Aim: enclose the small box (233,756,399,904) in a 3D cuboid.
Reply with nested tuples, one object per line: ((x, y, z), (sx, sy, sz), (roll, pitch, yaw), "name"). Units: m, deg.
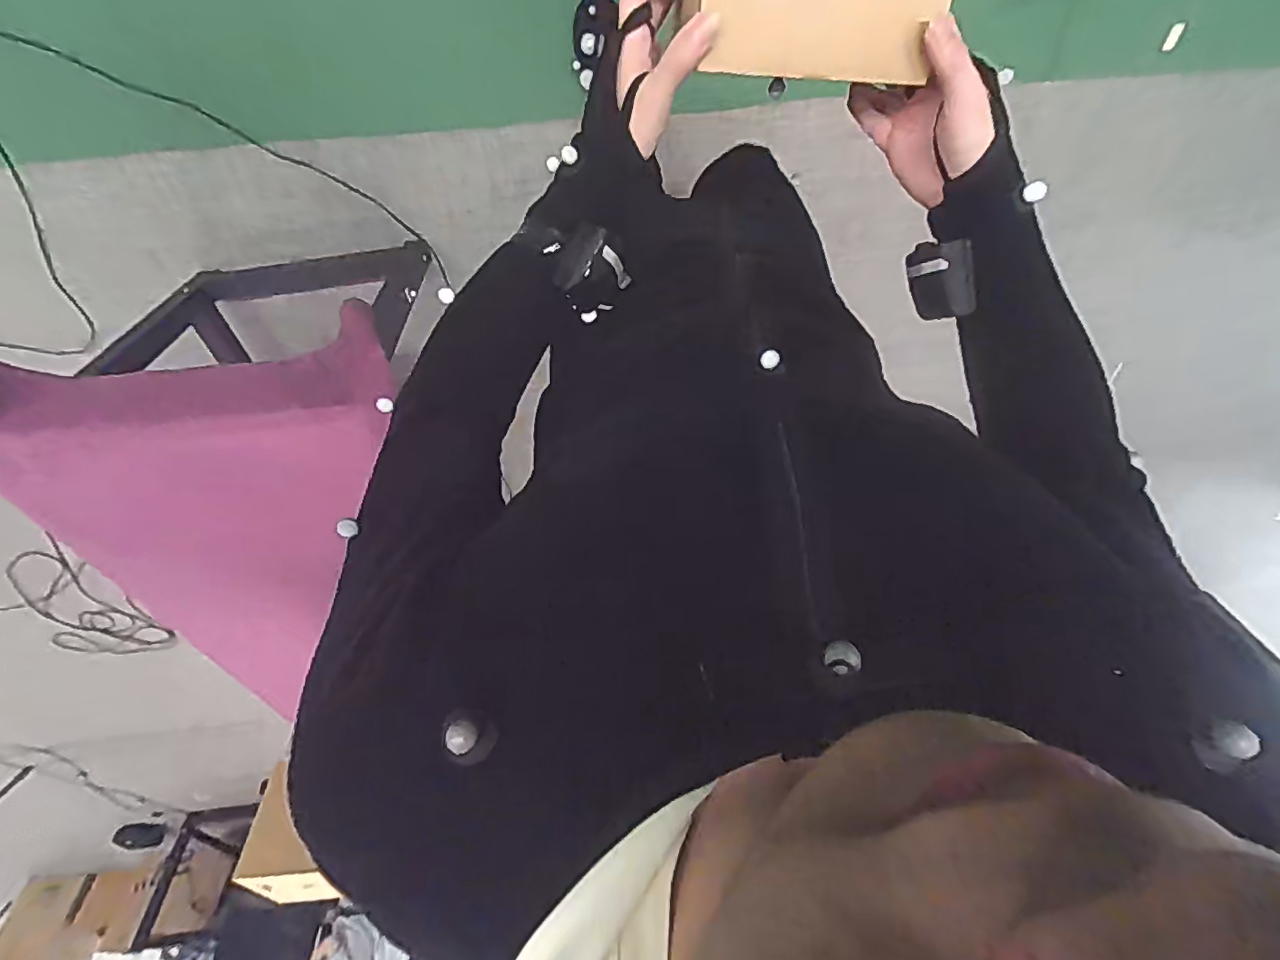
((-0.524, 0.583, 0.911), (0.179, 0.176, 0.168), (-3, 132, -5), "small box")

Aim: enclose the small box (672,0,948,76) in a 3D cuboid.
((0.121, -0.407, 0.400), (0.179, 0.176, 0.168), (0, 127, -5), "small box")
